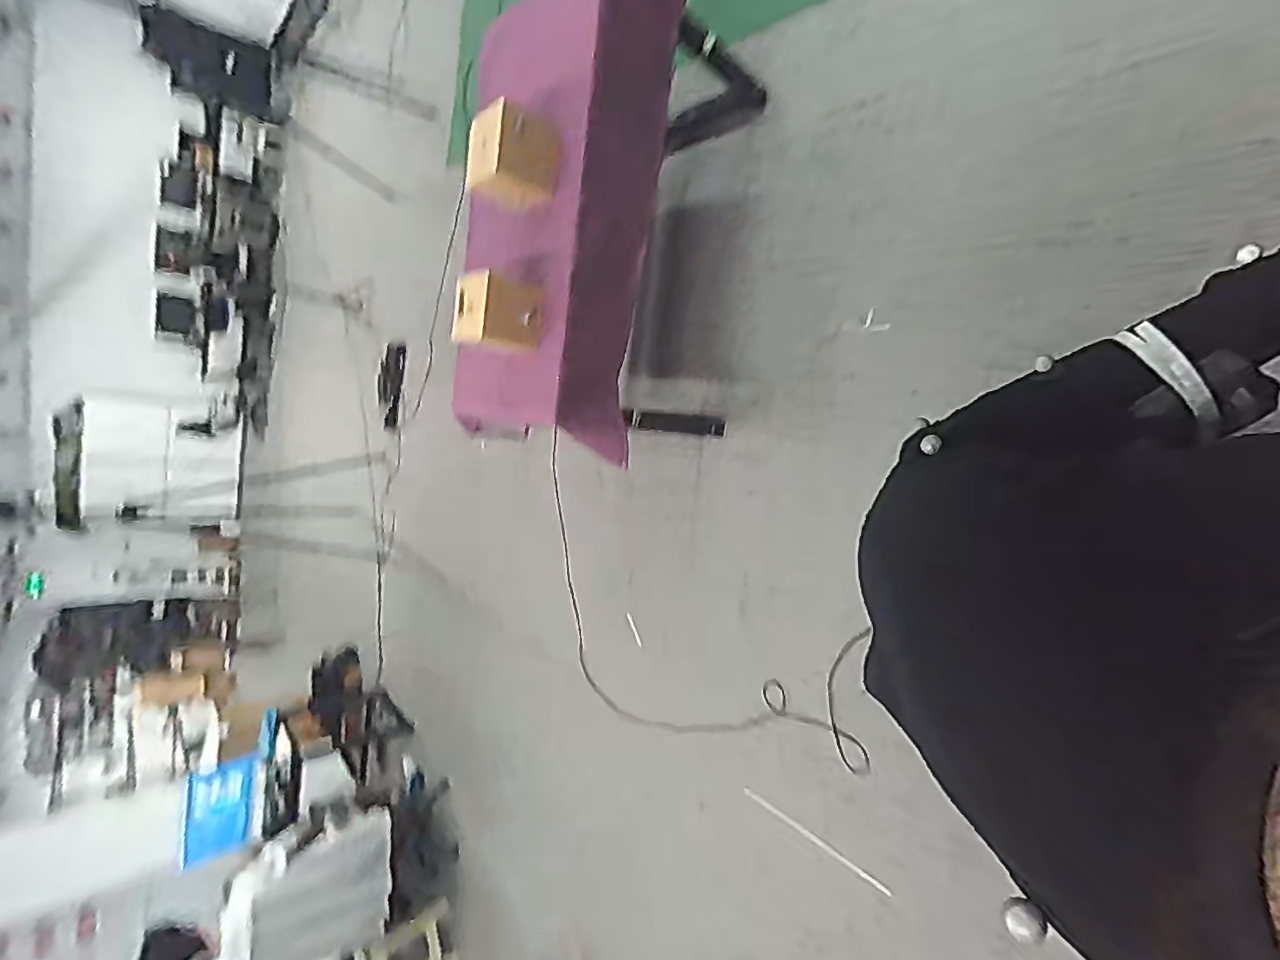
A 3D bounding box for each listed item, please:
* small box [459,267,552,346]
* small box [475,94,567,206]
[{"bbox_3d":[-0.363,-0.459,1.455,0.179,0.176,0.168,15,99,45],"label":"small box"},{"bbox_3d":[-0.308,-0.852,1.415,0.168,0.176,0.179,13,98,46],"label":"small box"}]
